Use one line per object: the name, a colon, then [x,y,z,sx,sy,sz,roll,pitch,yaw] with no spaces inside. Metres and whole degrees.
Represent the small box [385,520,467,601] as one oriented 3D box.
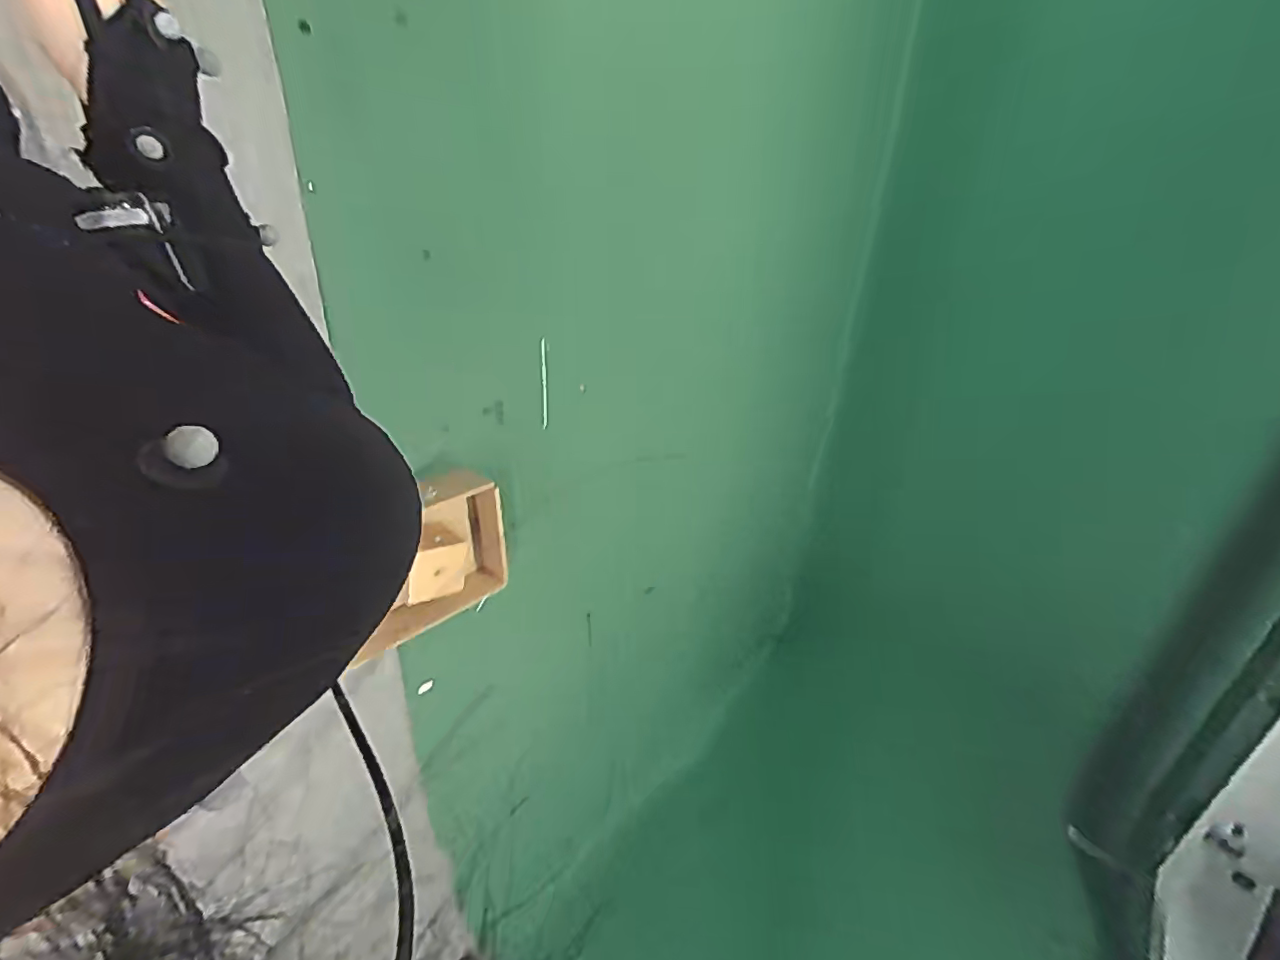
small box: [-0.646,0.234,1.623,0.179,0.176,0.168,-9,118,-47]
